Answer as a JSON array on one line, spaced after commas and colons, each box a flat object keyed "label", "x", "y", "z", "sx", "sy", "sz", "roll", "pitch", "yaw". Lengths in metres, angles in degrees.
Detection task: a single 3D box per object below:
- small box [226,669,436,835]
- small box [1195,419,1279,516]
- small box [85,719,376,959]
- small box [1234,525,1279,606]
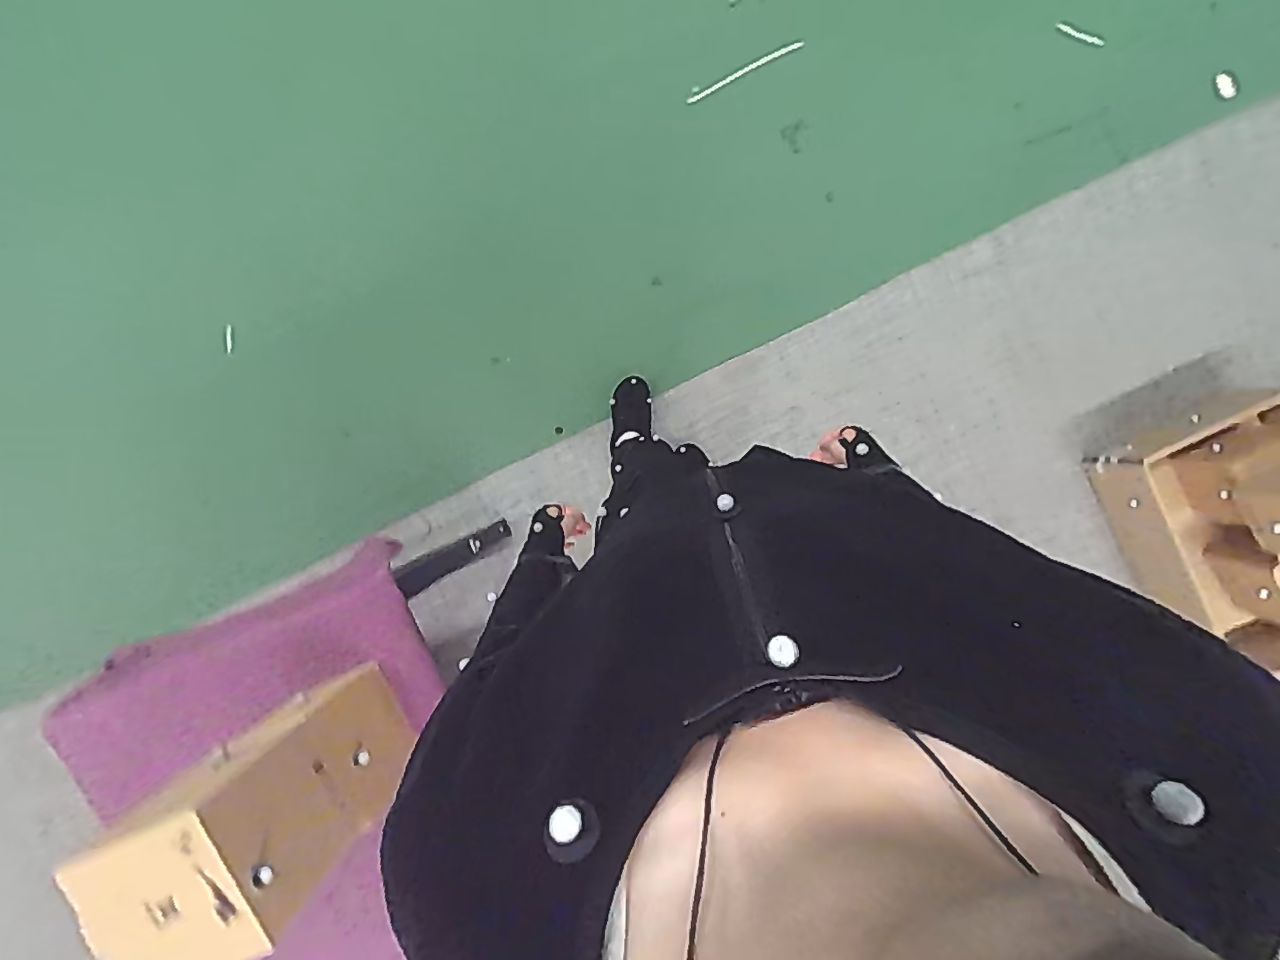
[{"label": "small box", "x": -0.437, "y": 0.403, "z": 0.793, "sx": 0.168, "sy": 0.176, "sz": 0.179, "roll": -27, "pitch": 94, "yaw": 7}, {"label": "small box", "x": 1.462, "y": -0.031, "z": 1.249, "sx": 0.168, "sy": 0.176, "sz": 0.179, "roll": -31, "pitch": 94, "yaw": 9}, {"label": "small box", "x": -0.455, "y": 0.418, "z": 0.630, "sx": 0.179, "sy": 0.176, "sz": 0.168, "roll": -26, "pitch": 94, "yaw": 7}, {"label": "small box", "x": 1.578, "y": 0.207, "z": 1.262, "sx": 0.168, "sy": 0.176, "sz": 0.179, "roll": -34, "pitch": 91, "yaw": 9}]
